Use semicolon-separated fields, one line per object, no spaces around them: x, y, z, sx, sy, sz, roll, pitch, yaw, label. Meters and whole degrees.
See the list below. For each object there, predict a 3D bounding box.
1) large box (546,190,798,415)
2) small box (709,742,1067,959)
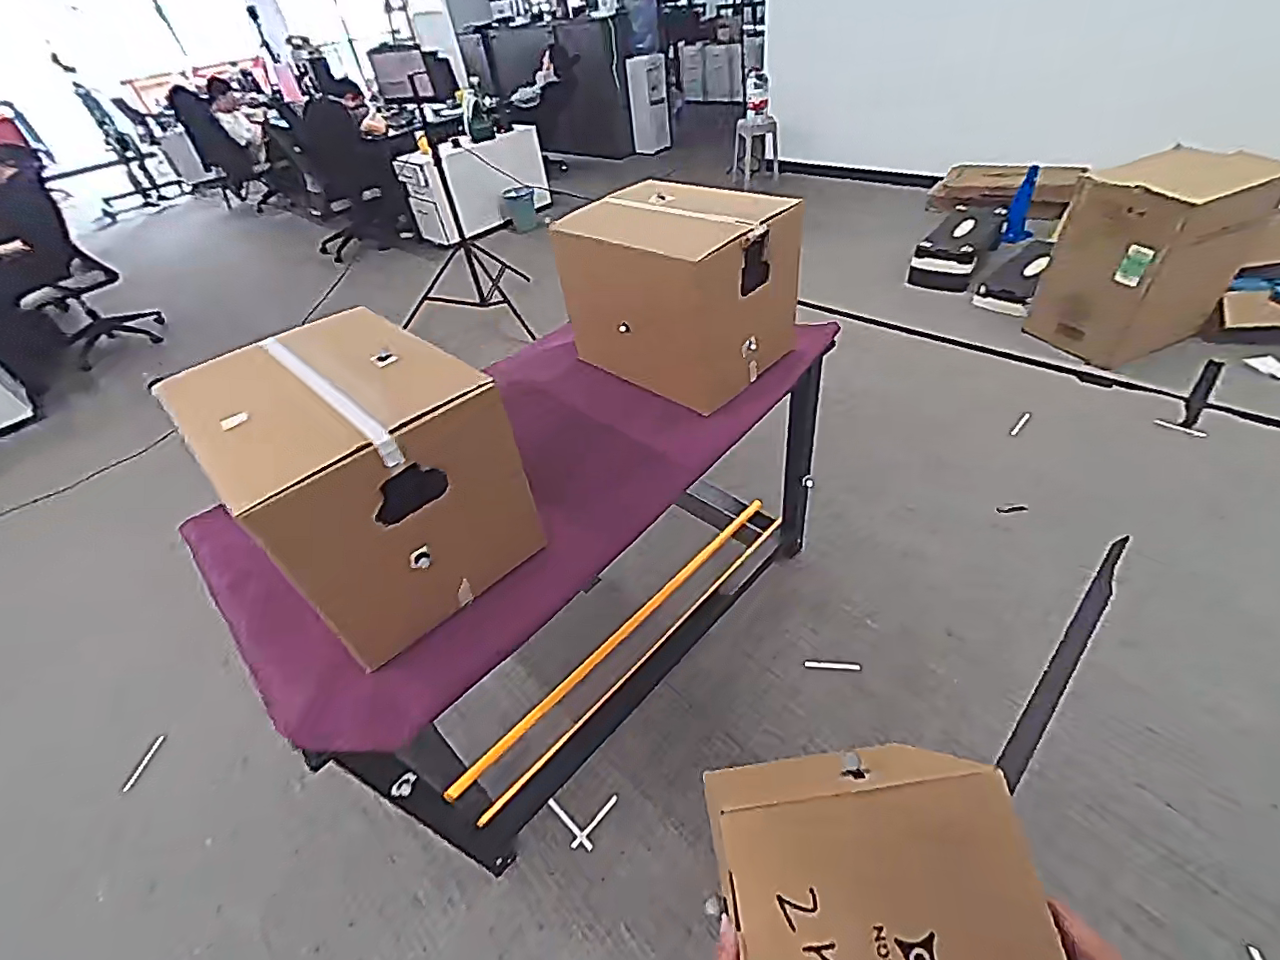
0.076;-0.388;1.144;0.408;0.320;0.320;29;55;36;large box
0.151;0.287;0.376;0.179;0.176;0.168;-8;68;0;small box
